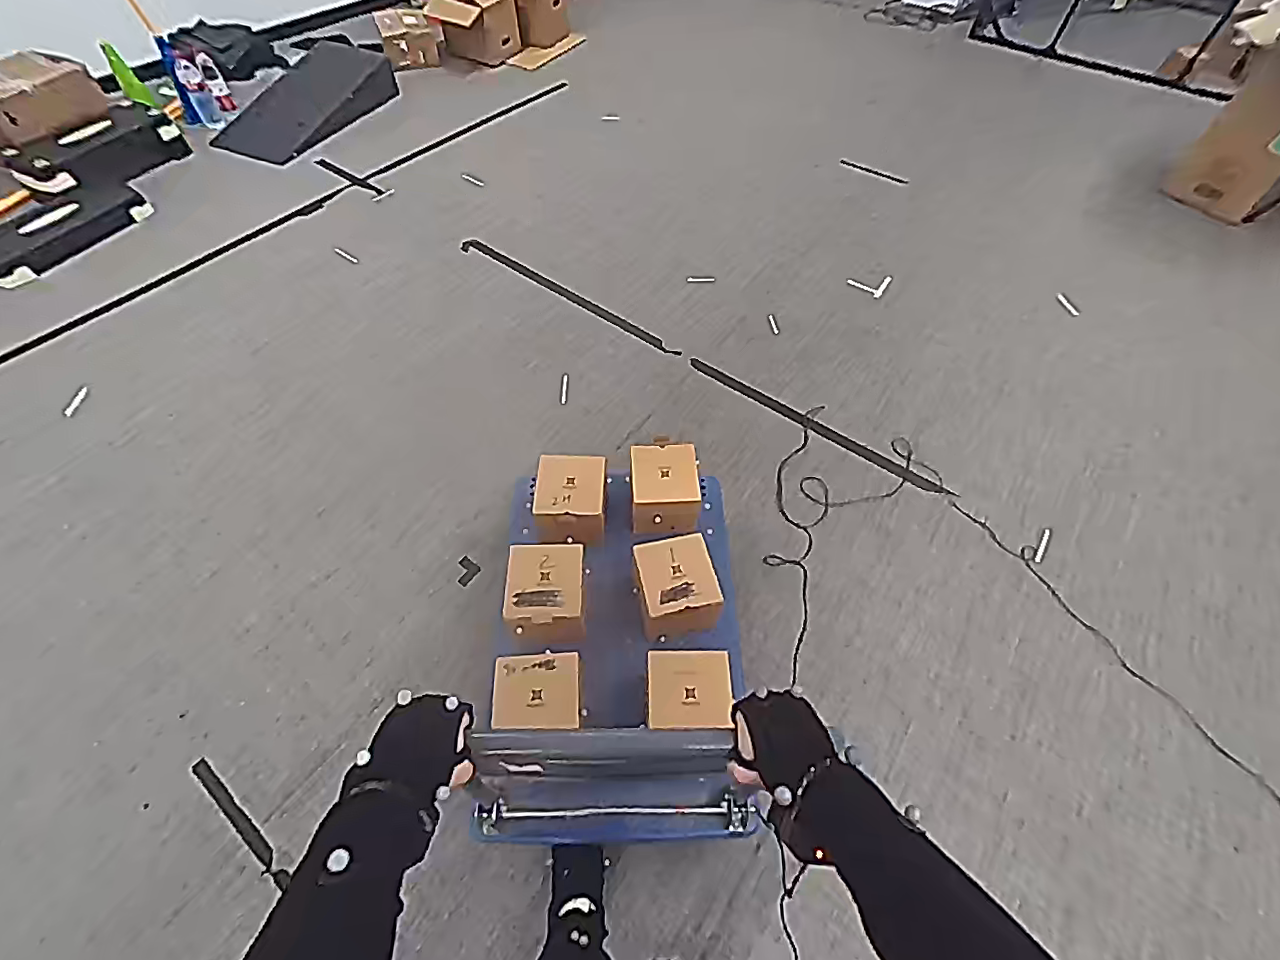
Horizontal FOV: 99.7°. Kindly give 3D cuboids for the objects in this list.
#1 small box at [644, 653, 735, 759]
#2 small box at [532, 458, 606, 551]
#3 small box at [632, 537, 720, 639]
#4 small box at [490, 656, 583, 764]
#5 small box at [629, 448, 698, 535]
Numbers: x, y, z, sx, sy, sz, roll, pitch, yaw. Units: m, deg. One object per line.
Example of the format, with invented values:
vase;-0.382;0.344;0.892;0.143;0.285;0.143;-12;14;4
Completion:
small box;0.095;0.472;1.119;0.168;0.176;0.179;1;54;-2
small box;-0.175;0.064;1.388;0.168;0.176;0.179;2;56;-1
small box;0.077;0.259;1.265;0.168;0.176;0.179;-10;55;-9
small box;-0.203;0.474;1.105;0.168;0.176;0.179;-2;56;-5
small box;0.056;0.036;1.420;0.168;0.176;0.179;-2;55;-4
